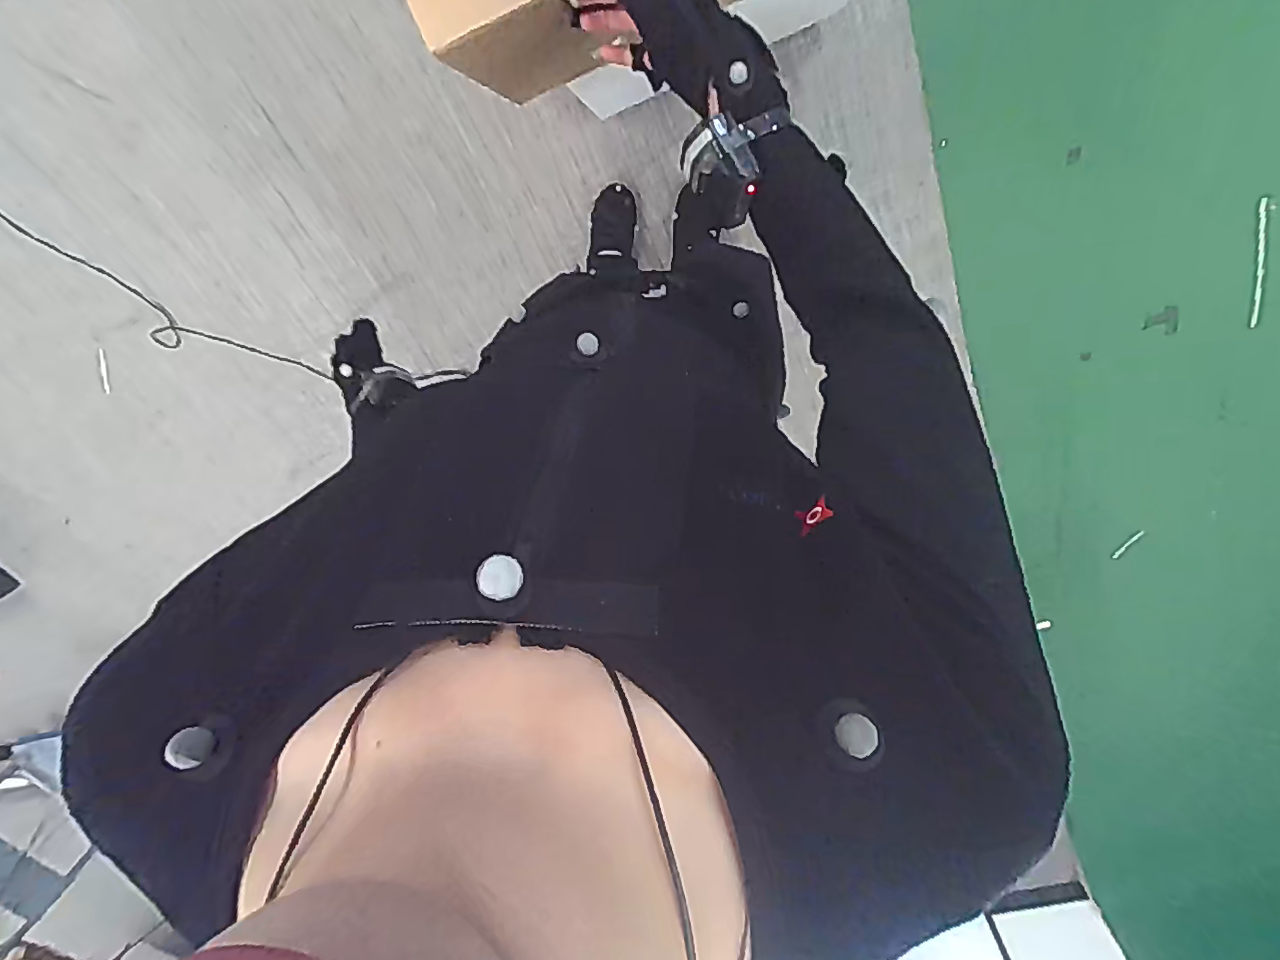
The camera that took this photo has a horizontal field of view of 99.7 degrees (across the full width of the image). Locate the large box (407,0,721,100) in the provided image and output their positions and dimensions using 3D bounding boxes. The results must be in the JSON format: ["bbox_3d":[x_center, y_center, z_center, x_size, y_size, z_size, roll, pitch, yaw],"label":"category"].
[{"bbox_3d":[-0.090,-0.626,0.452,0.320,0.320,0.408,-17,116,11],"label":"large box"}]
